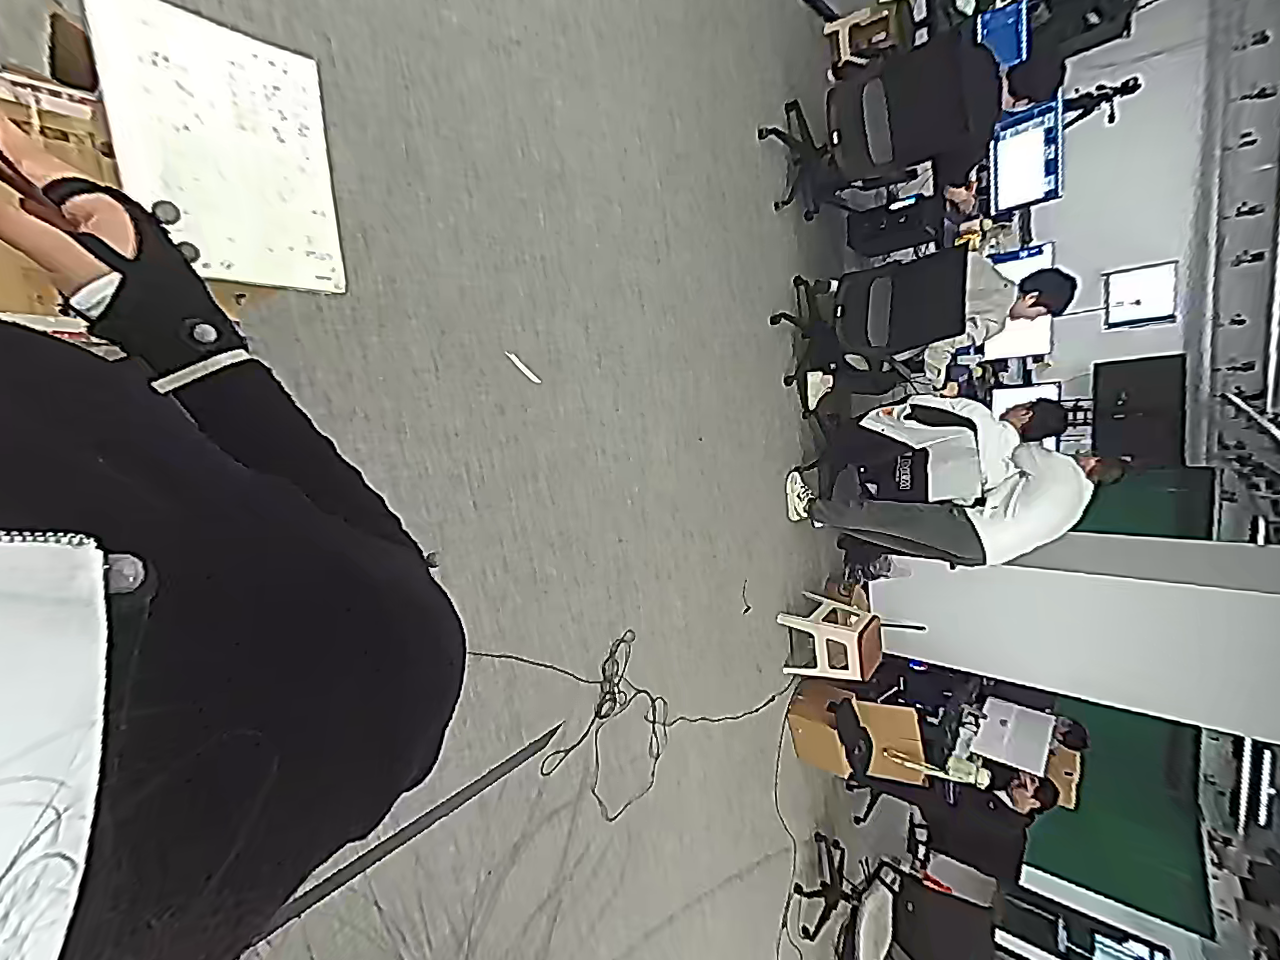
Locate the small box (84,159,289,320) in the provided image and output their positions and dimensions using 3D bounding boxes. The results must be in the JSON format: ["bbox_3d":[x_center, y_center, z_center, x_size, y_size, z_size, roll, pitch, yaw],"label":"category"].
[{"bbox_3d":[-0.642,-0.326,0.770,0.179,0.176,0.168,-20,107,-47],"label":"small box"}]

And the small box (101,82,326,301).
[{"bbox_3d":[-0.519,-0.329,0.662,0.168,0.176,0.179,-17,105,-49],"label":"small box"}]
